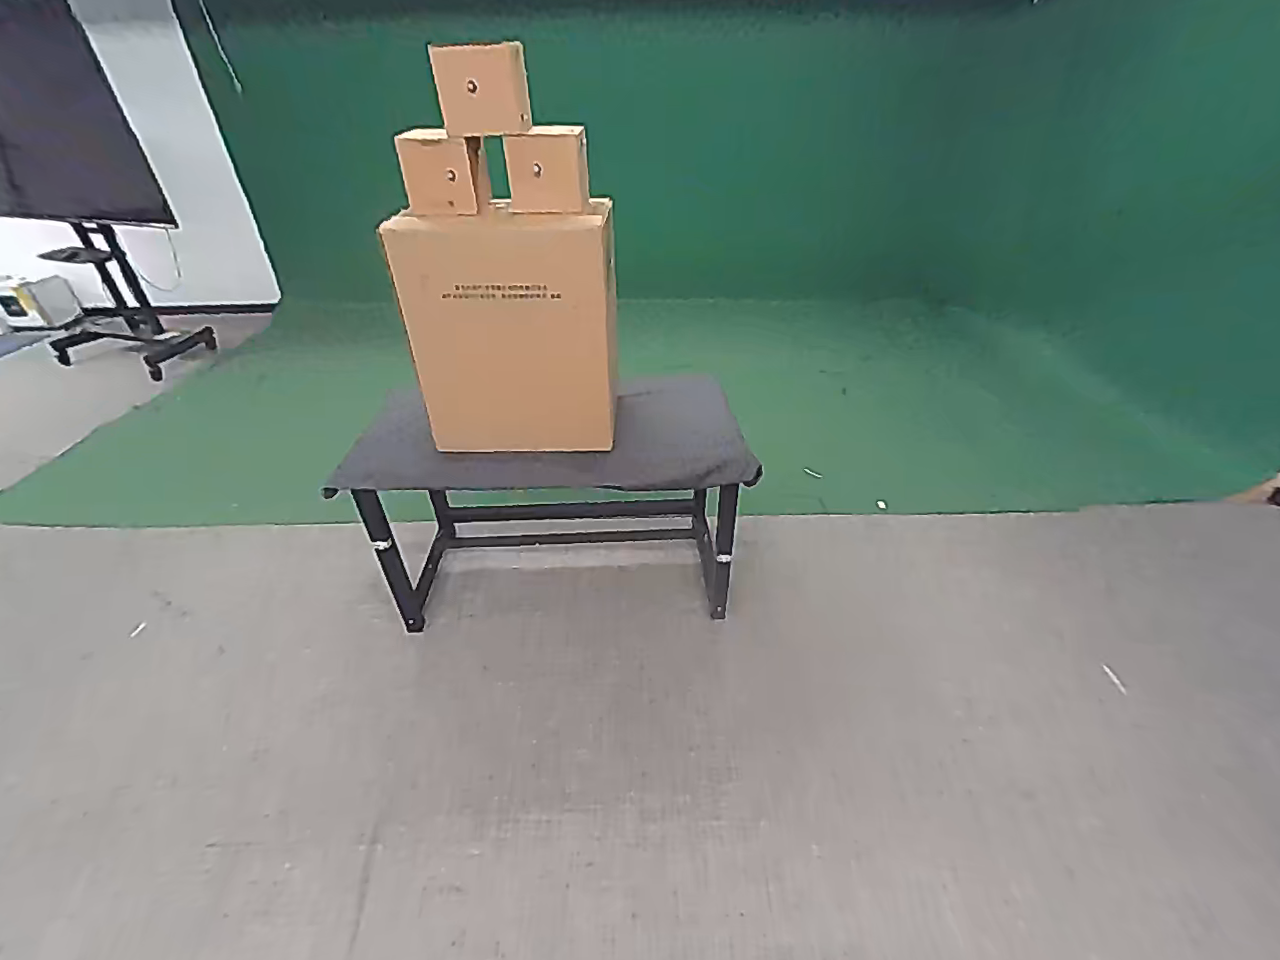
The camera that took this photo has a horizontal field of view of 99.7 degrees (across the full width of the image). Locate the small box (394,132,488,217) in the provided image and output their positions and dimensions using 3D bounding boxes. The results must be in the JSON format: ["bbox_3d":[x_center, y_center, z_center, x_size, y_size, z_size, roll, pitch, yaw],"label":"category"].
[{"bbox_3d":[-0.488,-0.767,1.356,0.168,0.176,0.179,1,36,-2],"label":"small box"}]

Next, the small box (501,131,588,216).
[{"bbox_3d":[-0.231,-0.768,1.357,0.179,0.176,0.168,0,38,1],"label":"small box"}]

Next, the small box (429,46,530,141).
[{"bbox_3d":[-0.361,-0.899,1.257,0.179,0.176,0.168,-2,37,0],"label":"small box"}]
